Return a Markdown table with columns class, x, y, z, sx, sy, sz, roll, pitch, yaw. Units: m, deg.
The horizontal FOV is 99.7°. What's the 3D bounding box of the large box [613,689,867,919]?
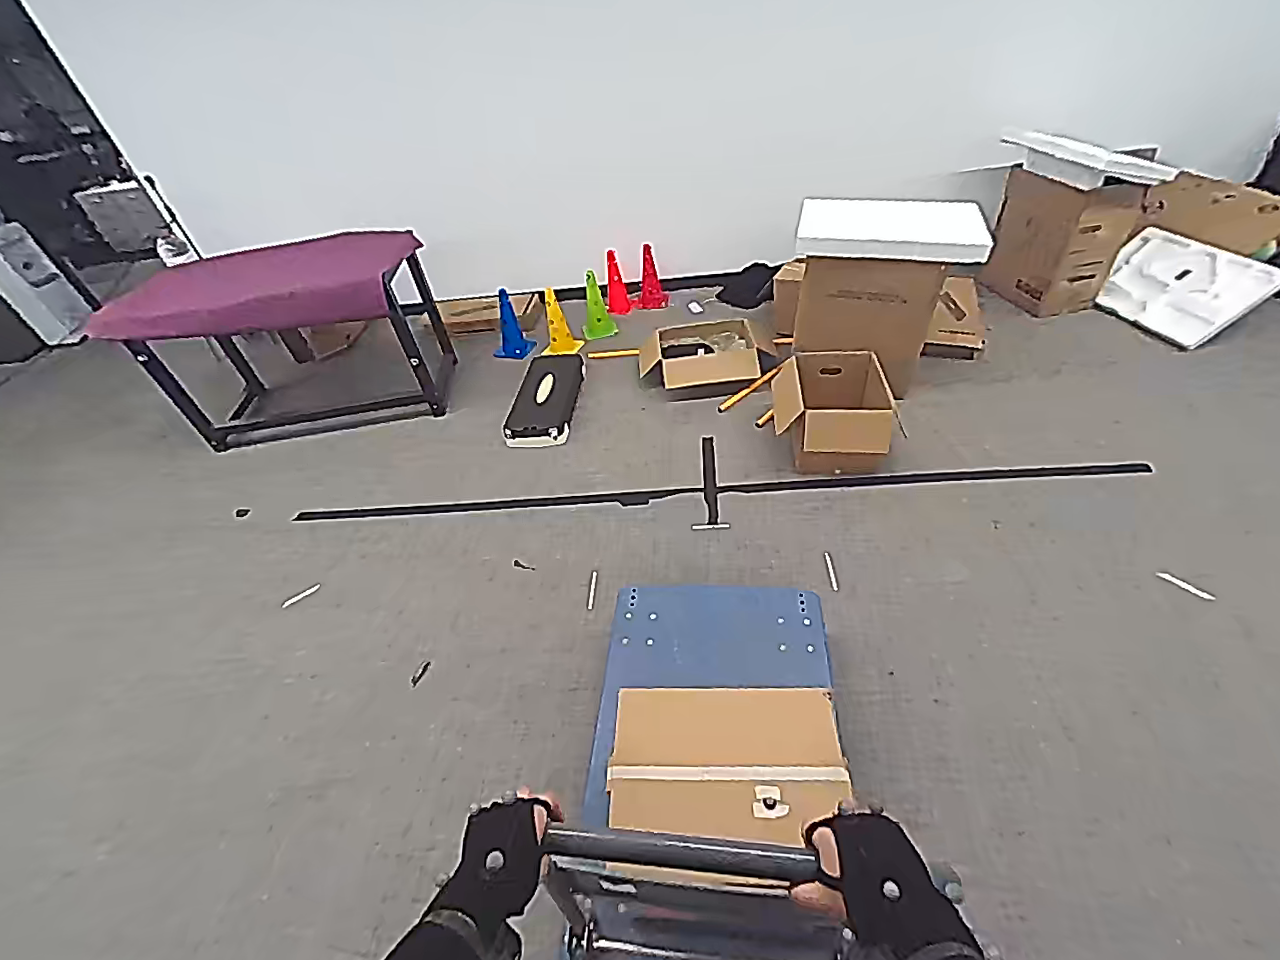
| class | x | y | z | sx | sy | sz | roll | pitch | yaw |
| --- | --- | --- | --- | --- | --- | --- | --- | --- | --- |
| large box | 0.168 | 0.627 | 1.048 | 0.408 | 0.320 | 0.320 | -2 | 43 | 5 |
